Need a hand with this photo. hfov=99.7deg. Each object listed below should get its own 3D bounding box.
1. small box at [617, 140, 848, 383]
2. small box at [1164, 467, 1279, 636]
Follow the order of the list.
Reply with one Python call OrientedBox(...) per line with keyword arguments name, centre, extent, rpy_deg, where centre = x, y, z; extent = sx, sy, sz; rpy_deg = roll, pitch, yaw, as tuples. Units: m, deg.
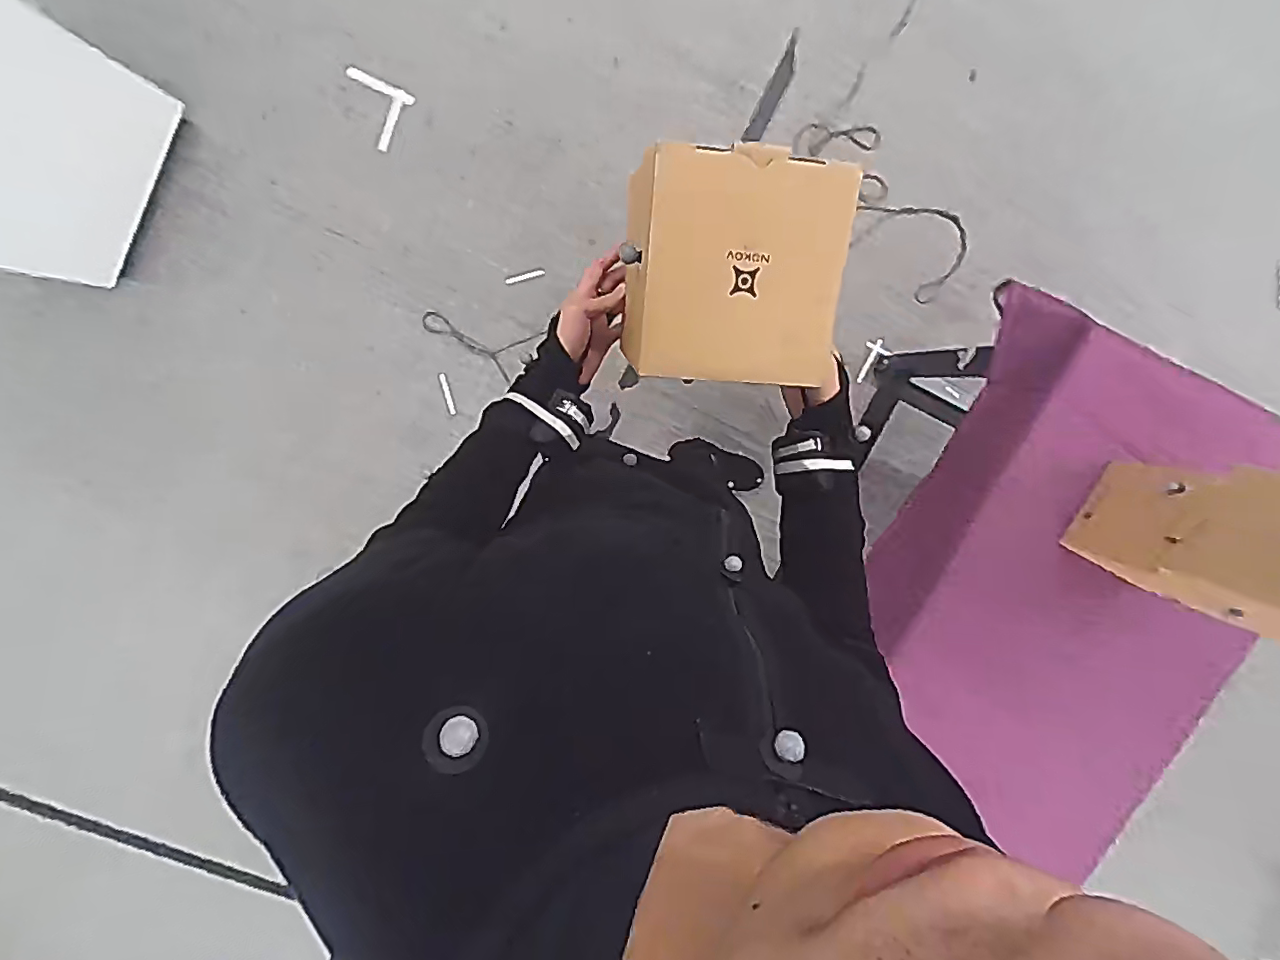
OrientedBox(name="small box", centre=(0.068, -0.197, 0.516), extent=(0.168, 0.176, 0.179), rpy_deg=(1, 109, -8))
OrientedBox(name="small box", centre=(0.852, 0.102, 0.692), extent=(0.168, 0.176, 0.179), rpy_deg=(33, 97, -8))
